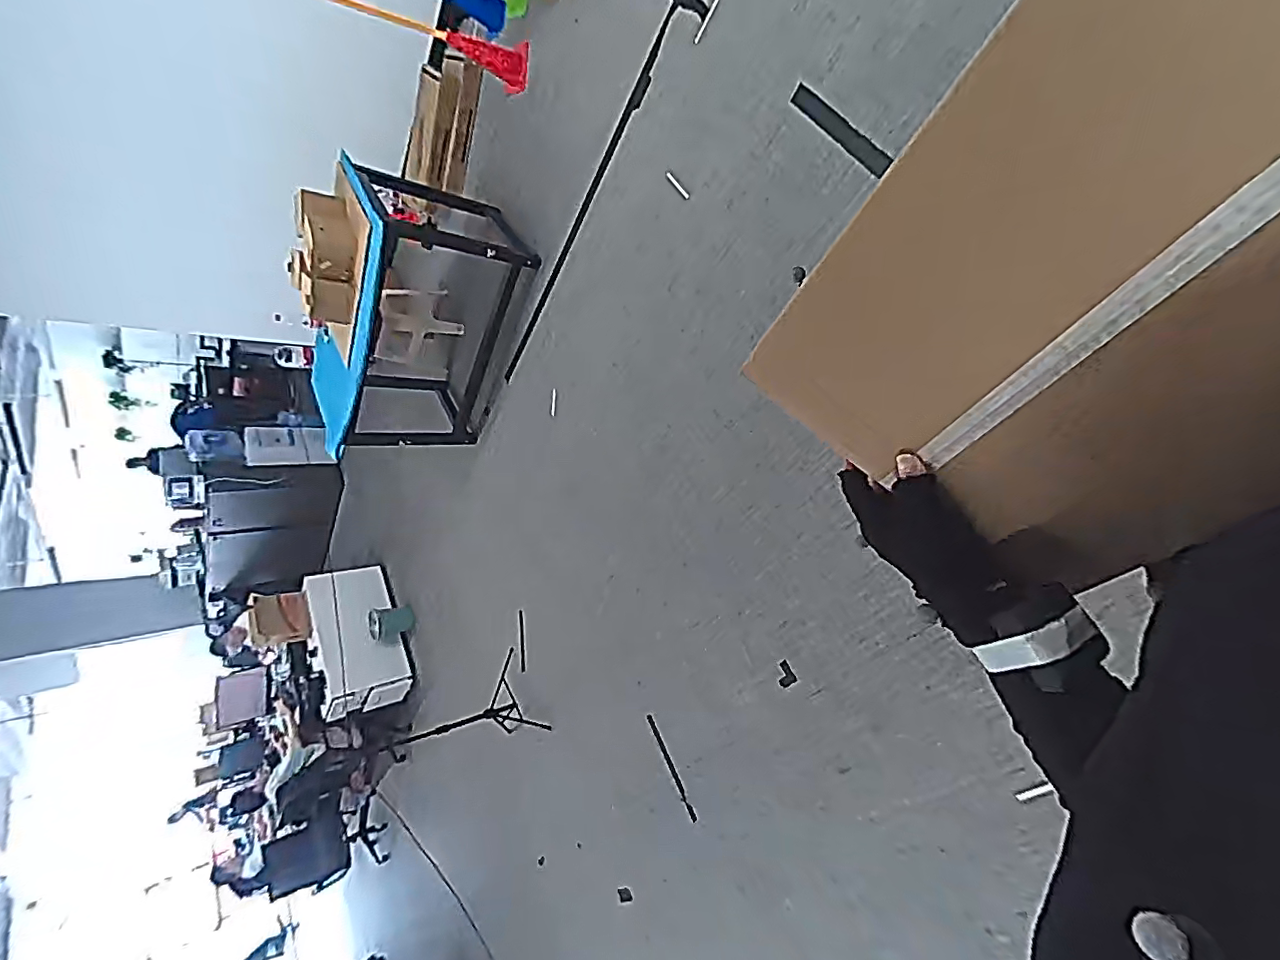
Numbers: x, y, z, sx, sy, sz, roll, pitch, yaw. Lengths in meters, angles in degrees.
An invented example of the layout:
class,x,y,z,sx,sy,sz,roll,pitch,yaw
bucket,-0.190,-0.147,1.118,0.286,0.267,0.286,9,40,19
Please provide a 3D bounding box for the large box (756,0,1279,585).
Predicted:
class,x,y,z,sx,sy,sz,roll,pitch,yaw
large box,0.363,-0.197,0.425,0.320,0.320,0.408,38,135,3
